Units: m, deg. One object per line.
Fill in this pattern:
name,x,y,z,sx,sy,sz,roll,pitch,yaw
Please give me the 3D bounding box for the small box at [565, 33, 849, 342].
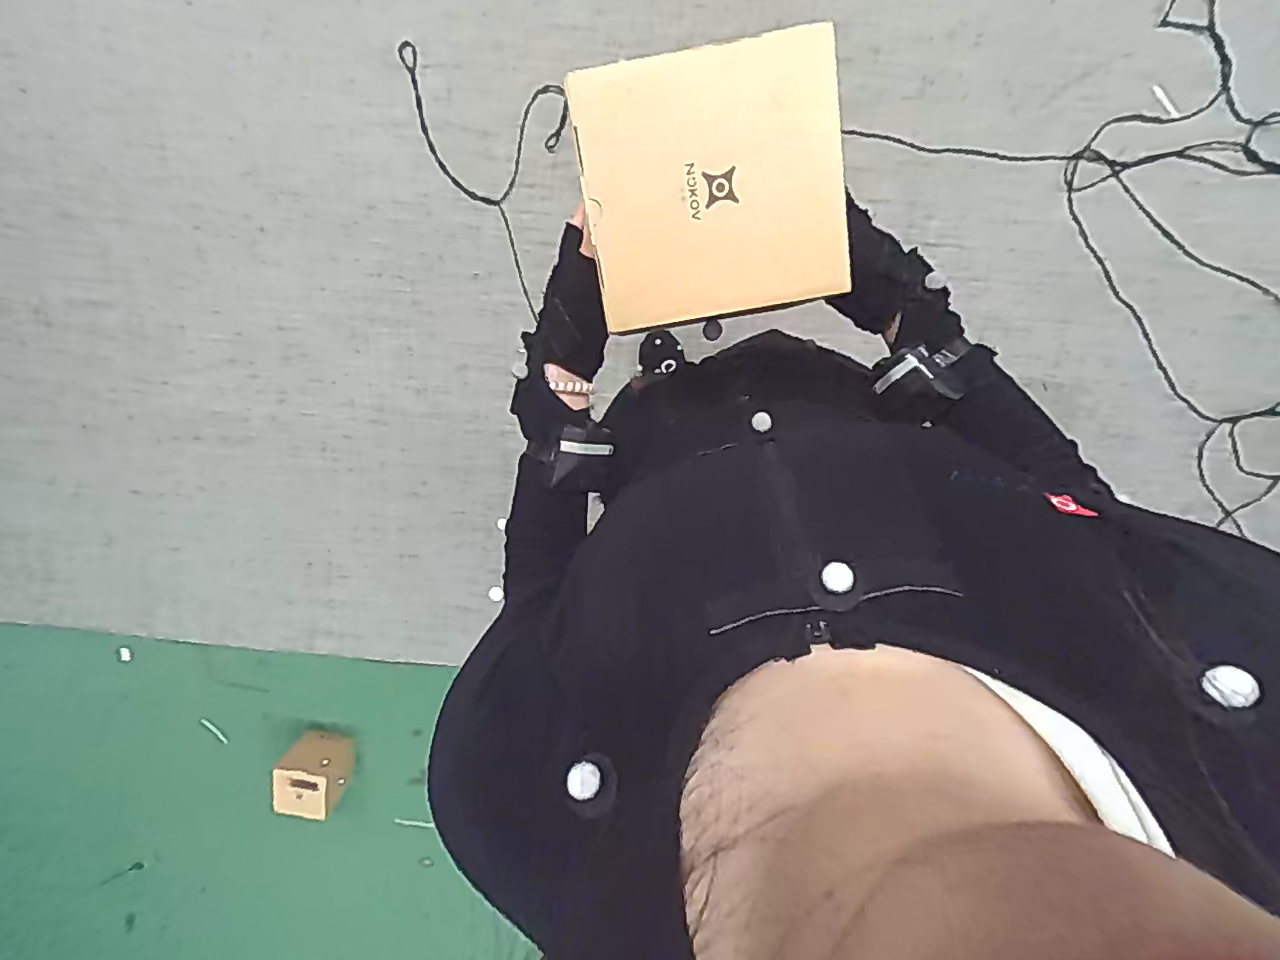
small box,0.050,-0.211,0.439,0.179,0.176,0.168,-9,105,4
